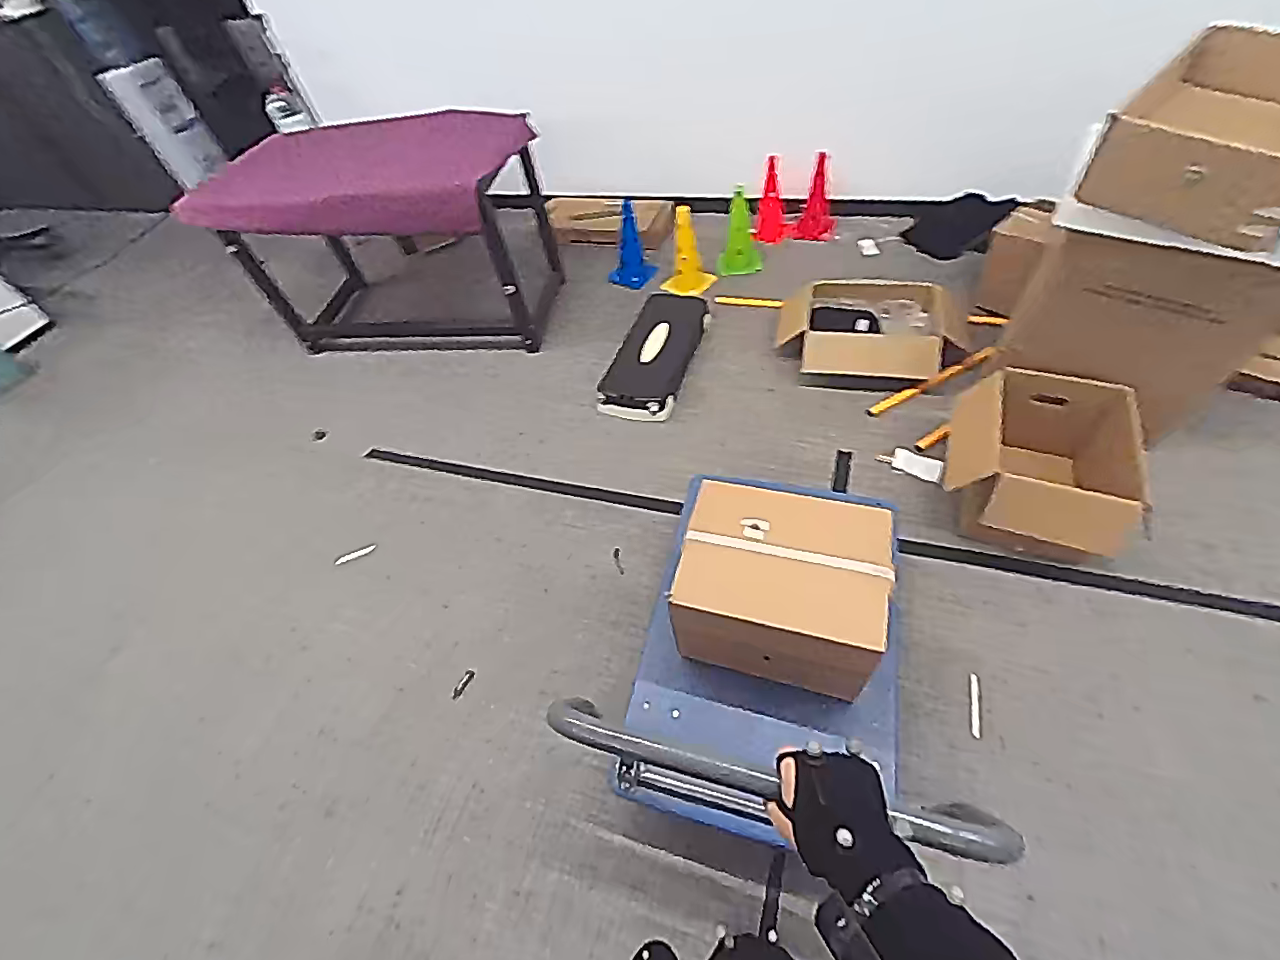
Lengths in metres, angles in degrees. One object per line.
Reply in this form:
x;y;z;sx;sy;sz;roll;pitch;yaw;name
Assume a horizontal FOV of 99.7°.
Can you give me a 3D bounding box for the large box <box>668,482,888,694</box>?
0.308;0.239;1.203;0.408;0.320;0.320;9;54;17;large box
